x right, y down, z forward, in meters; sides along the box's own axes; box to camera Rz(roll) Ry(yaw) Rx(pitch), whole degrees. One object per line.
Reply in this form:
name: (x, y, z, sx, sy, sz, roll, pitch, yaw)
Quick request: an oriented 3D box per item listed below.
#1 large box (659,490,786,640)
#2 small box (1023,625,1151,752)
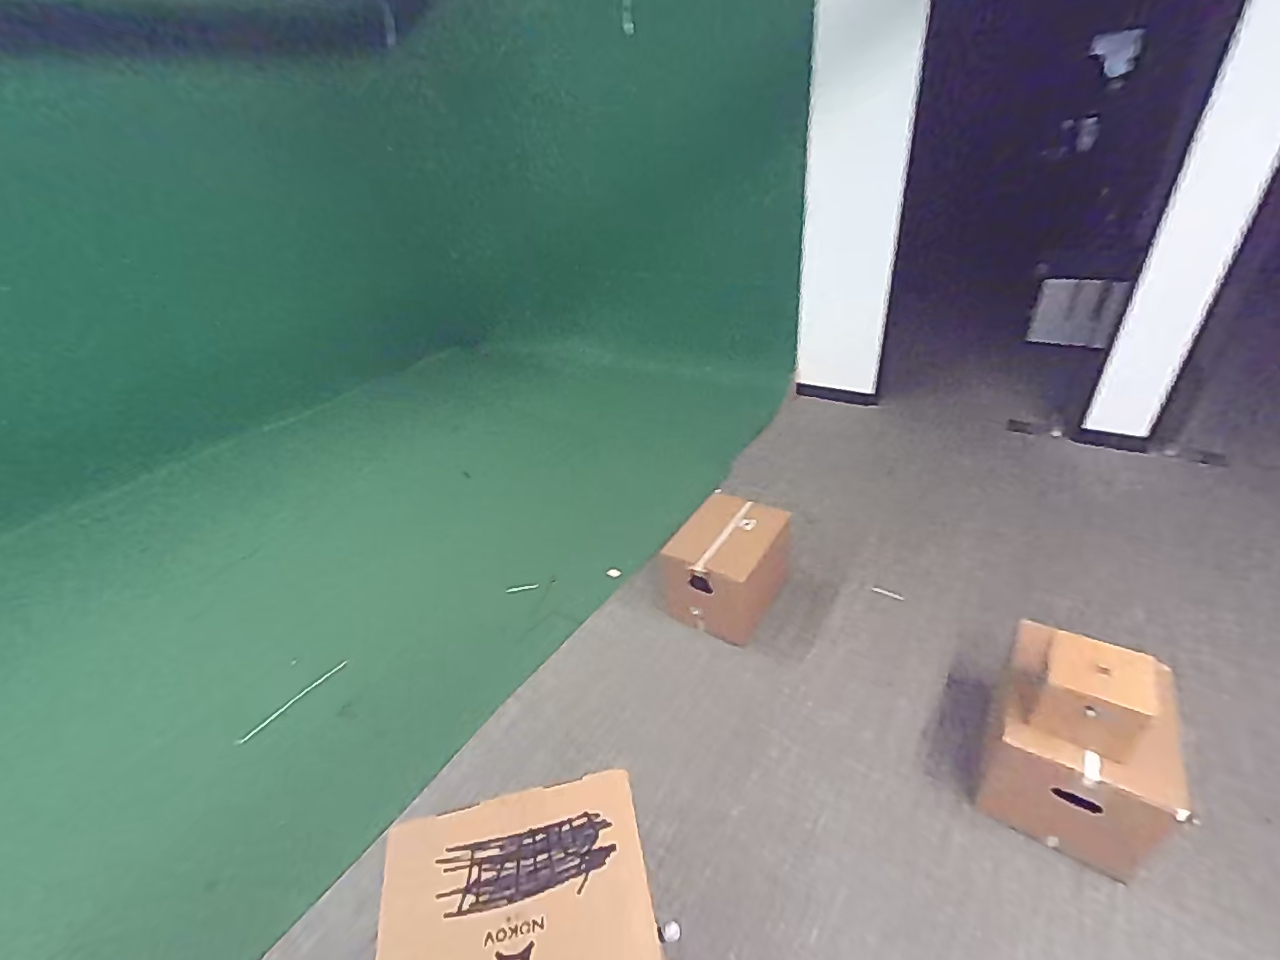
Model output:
large box: (0.309, 0.297, 1.971, 0.320, 0.320, 0.408, 17, 40, 31)
small box: (0.971, 0.458, 1.183, 0.179, 0.176, 0.168, 14, 40, 32)
